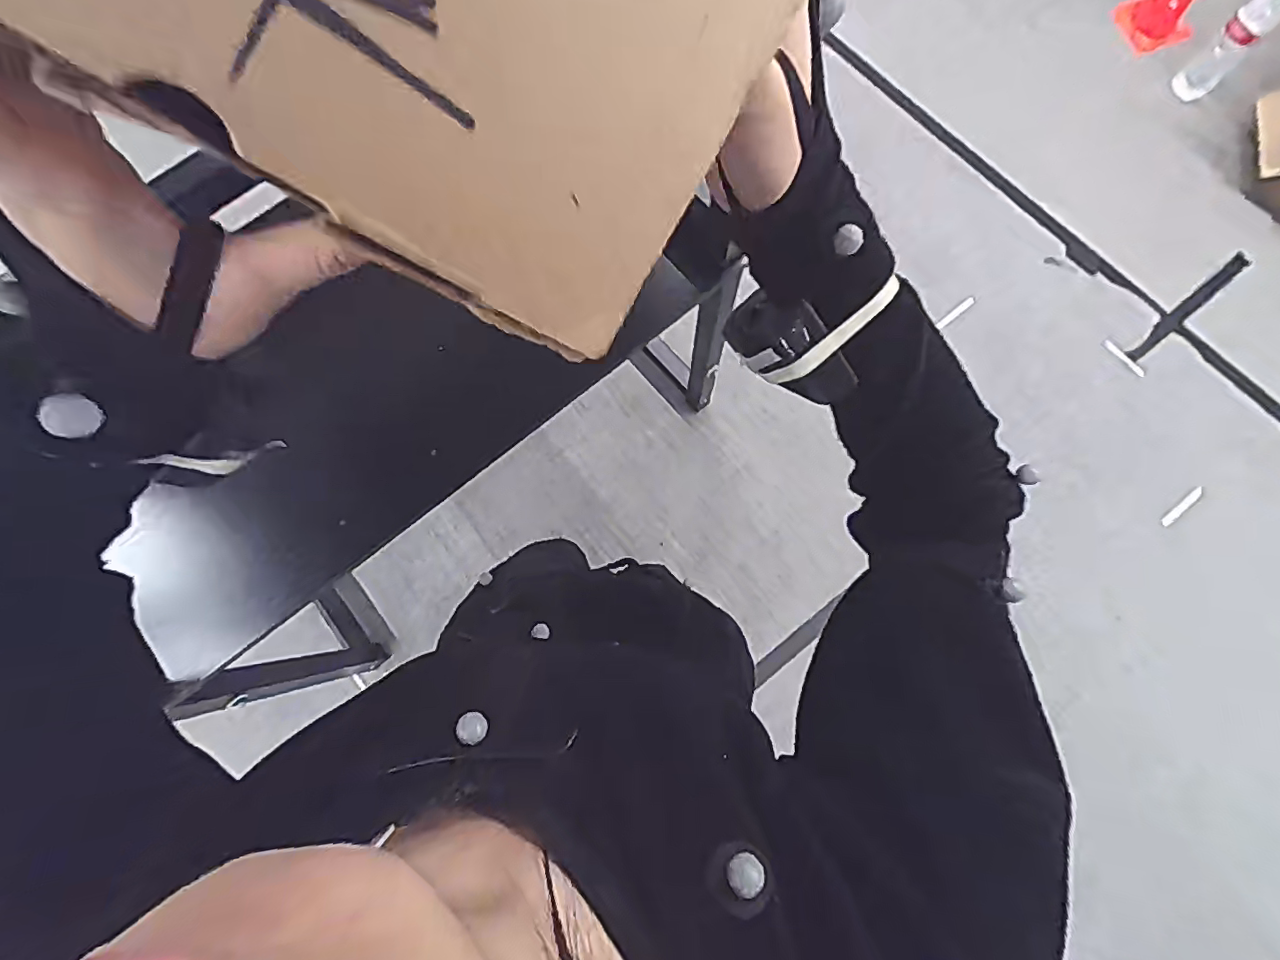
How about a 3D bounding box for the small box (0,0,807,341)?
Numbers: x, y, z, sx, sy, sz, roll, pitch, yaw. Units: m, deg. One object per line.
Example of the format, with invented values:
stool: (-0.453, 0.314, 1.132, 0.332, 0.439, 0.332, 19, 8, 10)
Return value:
small box: (-0.056, -0.168, 0.133, 0.168, 0.176, 0.179, 23, 107, -34)
